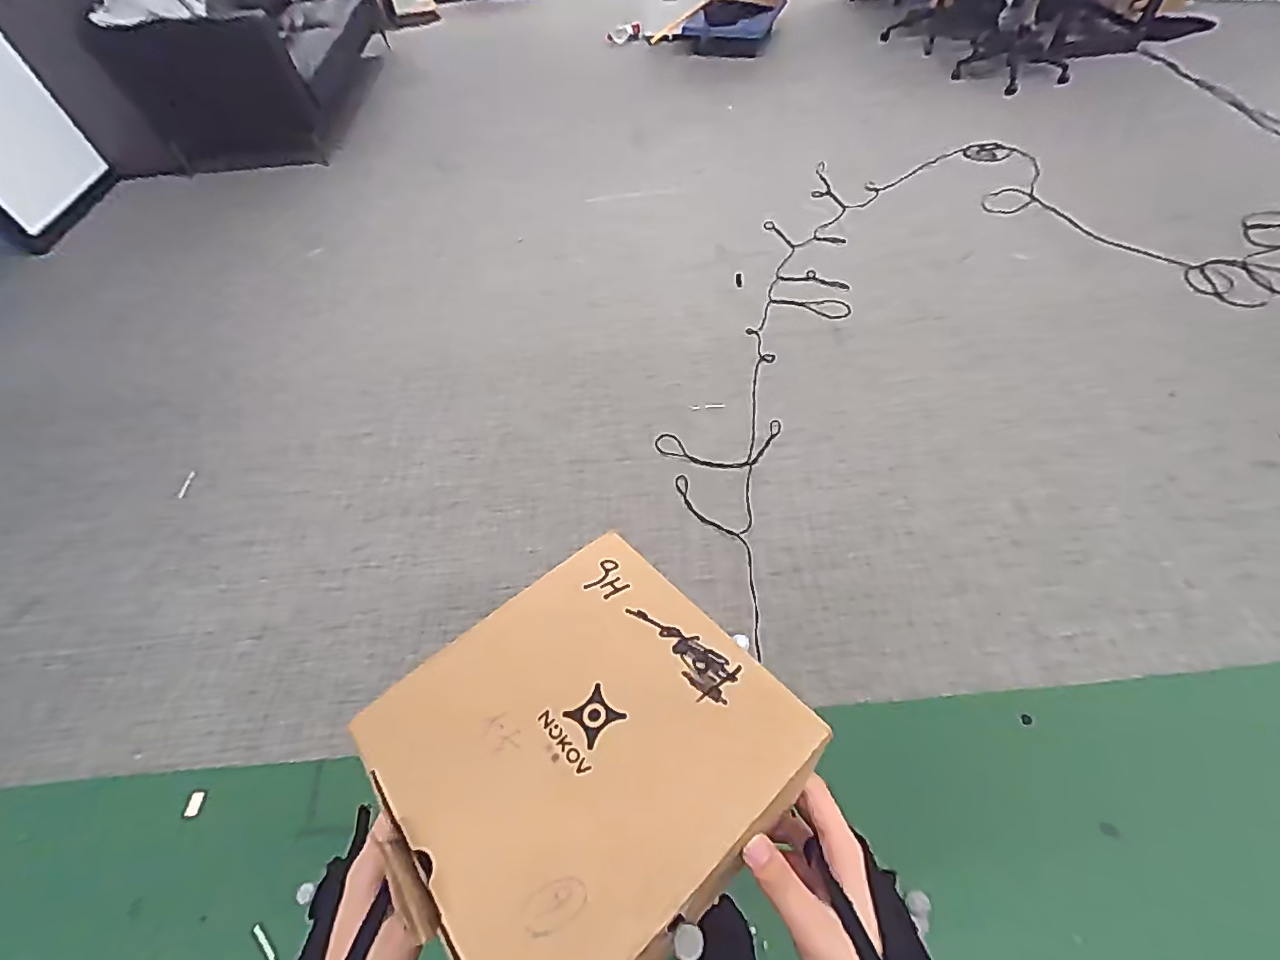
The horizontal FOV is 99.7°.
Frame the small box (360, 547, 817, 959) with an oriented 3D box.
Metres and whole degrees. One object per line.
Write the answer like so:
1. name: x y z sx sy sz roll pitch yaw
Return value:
1. small box: -0.021 0.182 0.325 0.179 0.176 0.168 -36 53 -23
